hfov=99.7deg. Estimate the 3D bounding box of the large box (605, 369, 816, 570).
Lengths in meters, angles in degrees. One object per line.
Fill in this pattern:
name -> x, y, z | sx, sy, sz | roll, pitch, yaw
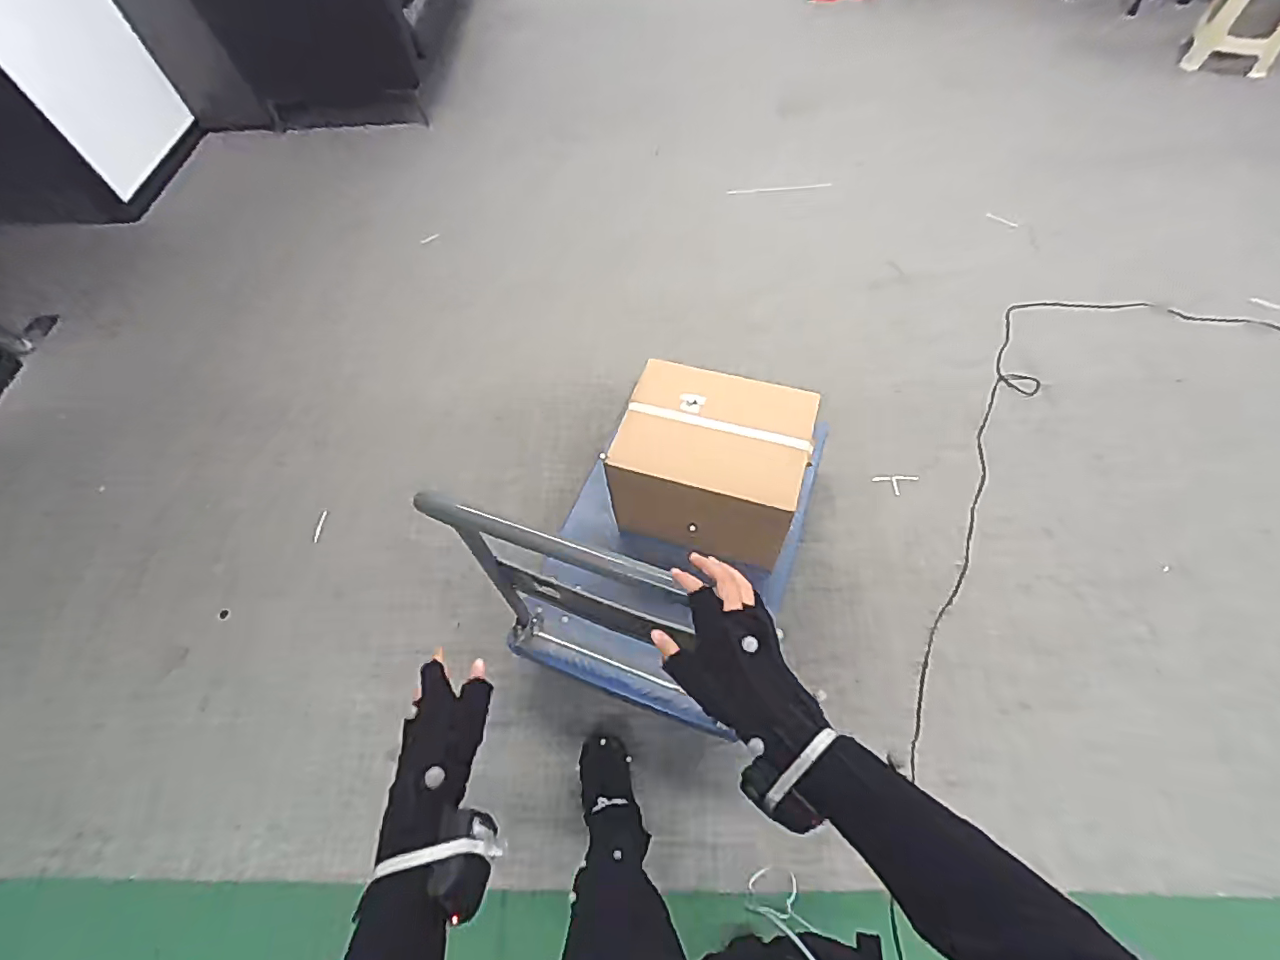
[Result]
large box -> 0.172, -0.021, 1.297 | 0.408, 0.320, 0.320 | 14, 60, 14
